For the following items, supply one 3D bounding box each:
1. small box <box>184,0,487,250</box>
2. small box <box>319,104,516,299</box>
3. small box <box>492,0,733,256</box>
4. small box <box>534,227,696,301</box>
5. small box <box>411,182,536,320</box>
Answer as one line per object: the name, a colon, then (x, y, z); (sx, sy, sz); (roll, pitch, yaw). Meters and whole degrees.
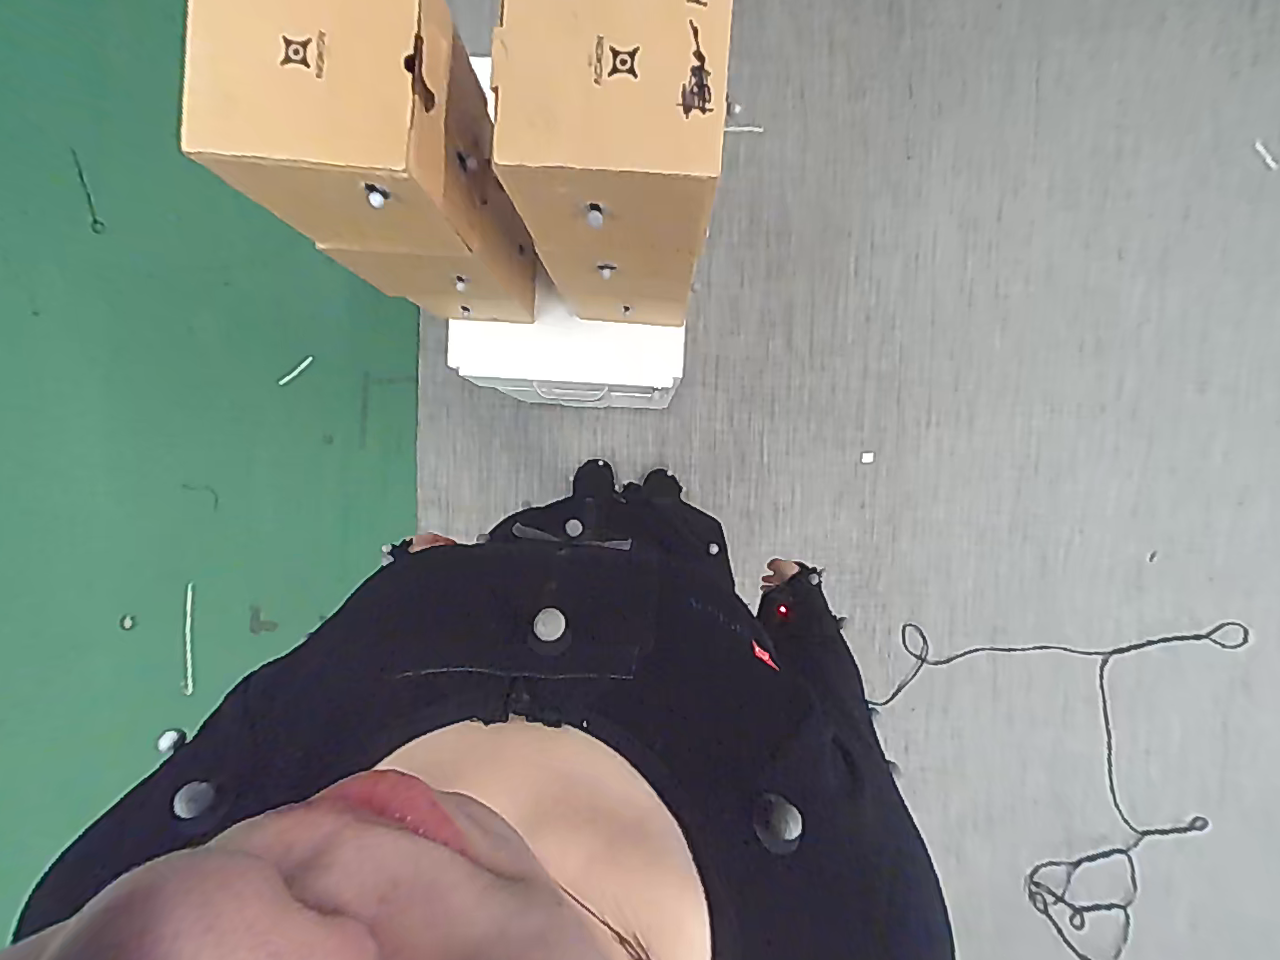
small box: (-0.252, -0.325, 0.488); (0.179, 0.176, 0.168); (5, 92, -1)
small box: (-0.252, -0.326, 0.651); (0.179, 0.176, 0.168); (2, 91, 0)
small box: (-0.017, -0.315, 0.485); (0.179, 0.176, 0.168); (4, 93, 3)
small box: (-0.017, -0.323, 0.649); (0.179, 0.176, 0.168); (5, 92, 1)
small box: (-0.253, -0.348, 0.812); (0.168, 0.176, 0.179); (3, 93, -2)
